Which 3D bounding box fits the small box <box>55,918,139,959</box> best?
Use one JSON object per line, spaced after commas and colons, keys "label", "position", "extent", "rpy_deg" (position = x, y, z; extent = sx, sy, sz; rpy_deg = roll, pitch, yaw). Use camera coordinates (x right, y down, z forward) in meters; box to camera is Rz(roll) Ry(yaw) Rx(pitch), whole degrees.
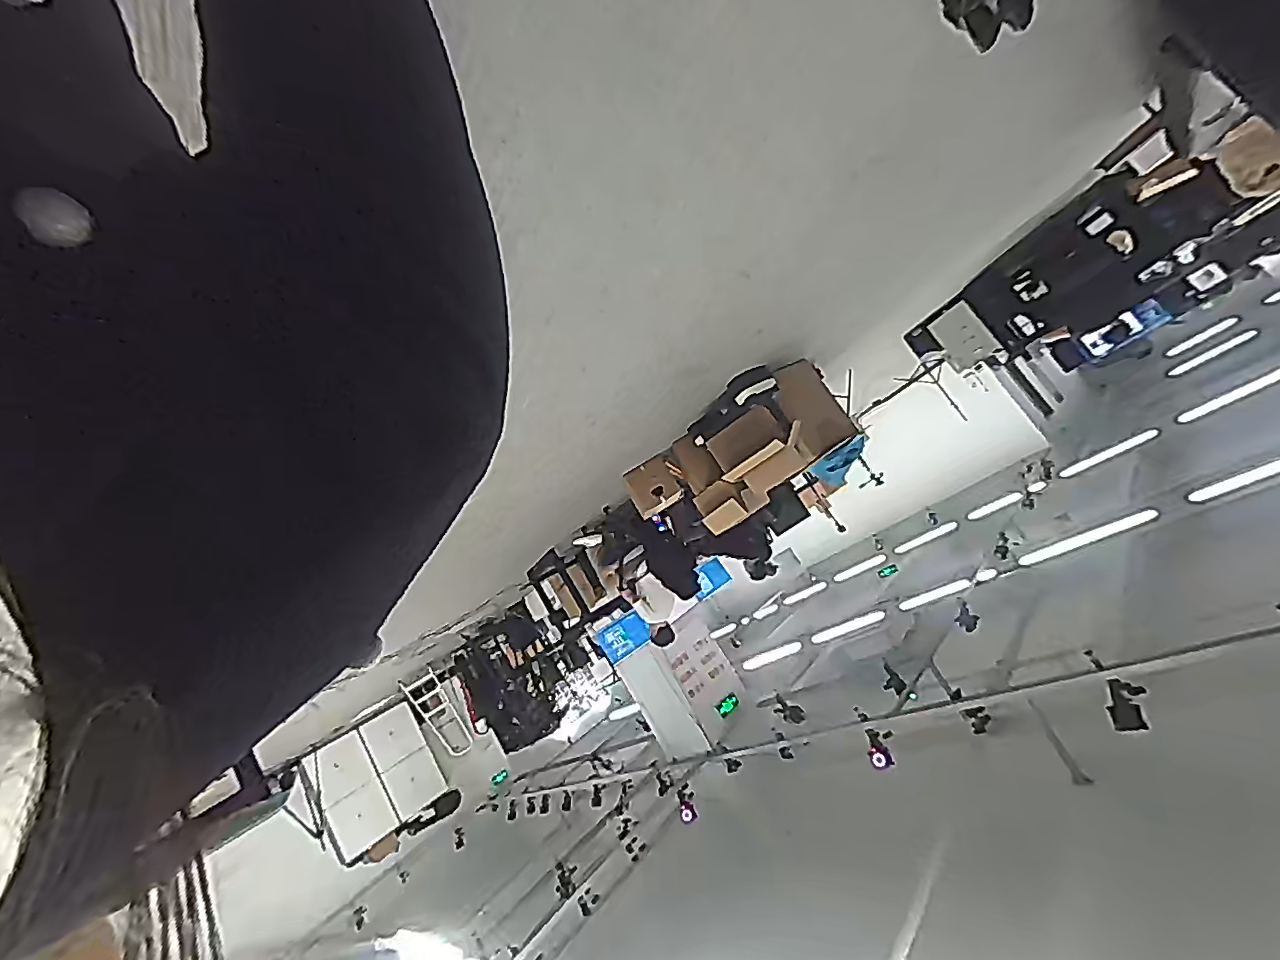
{"label": "small box", "position": [-1.546, 1.387, 1.524], "extent": [0.179, 0.176, 0.168], "rpy_deg": [-22, 165, -46]}
